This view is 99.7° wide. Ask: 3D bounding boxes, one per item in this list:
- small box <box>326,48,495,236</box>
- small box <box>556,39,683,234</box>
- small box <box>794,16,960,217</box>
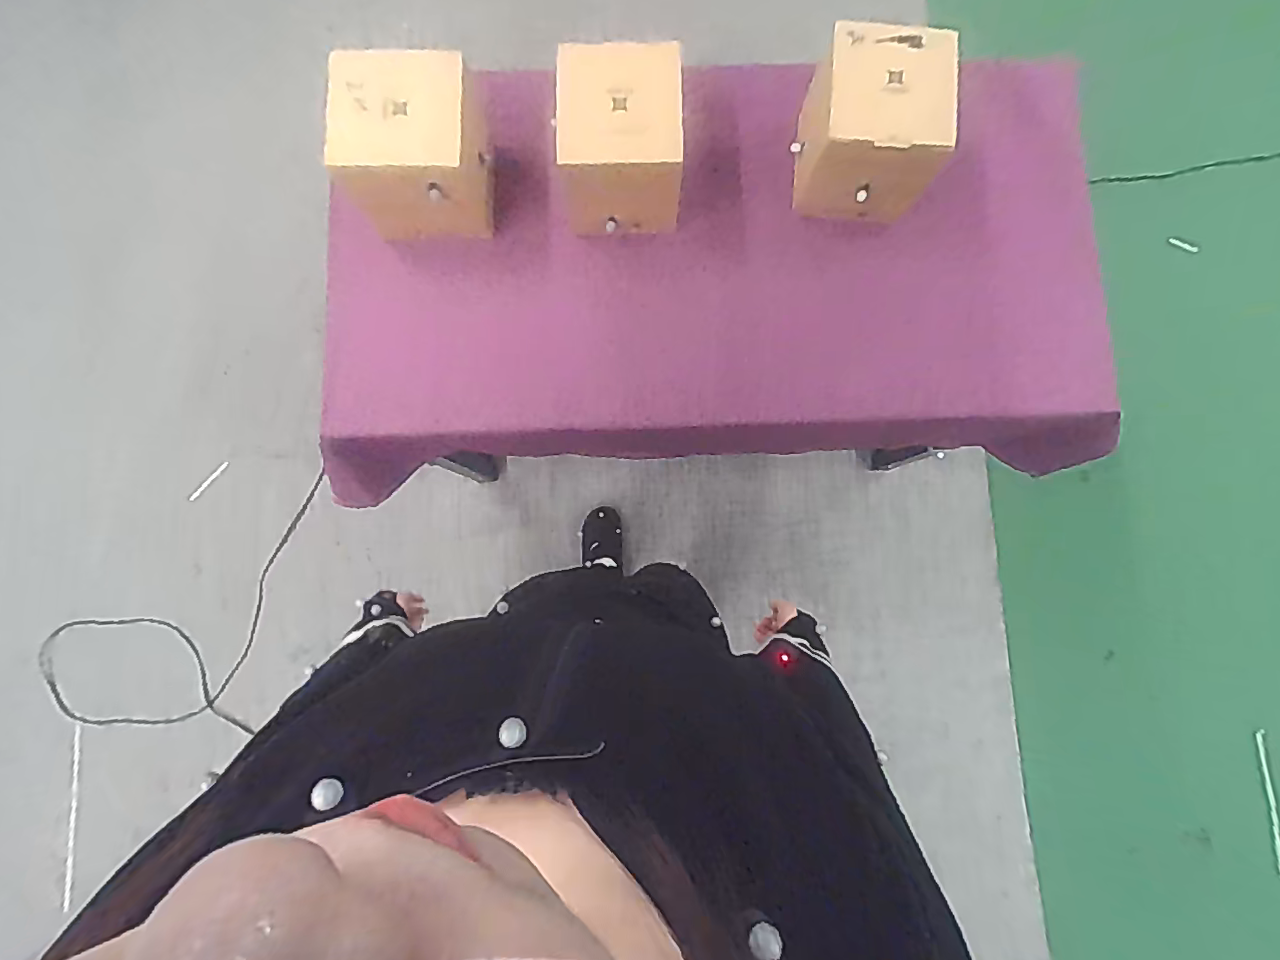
[{"bbox_3d":[-0.314,-0.471,0.776,0.179,0.176,0.168,0,83,0],"label":"small box"},{"bbox_3d":[-0.027,-0.485,0.781,0.168,0.176,0.179,0,84,1],"label":"small box"},{"bbox_3d":[0.329,-0.509,0.781,0.168,0.176,0.179,6,84,0],"label":"small box"}]
